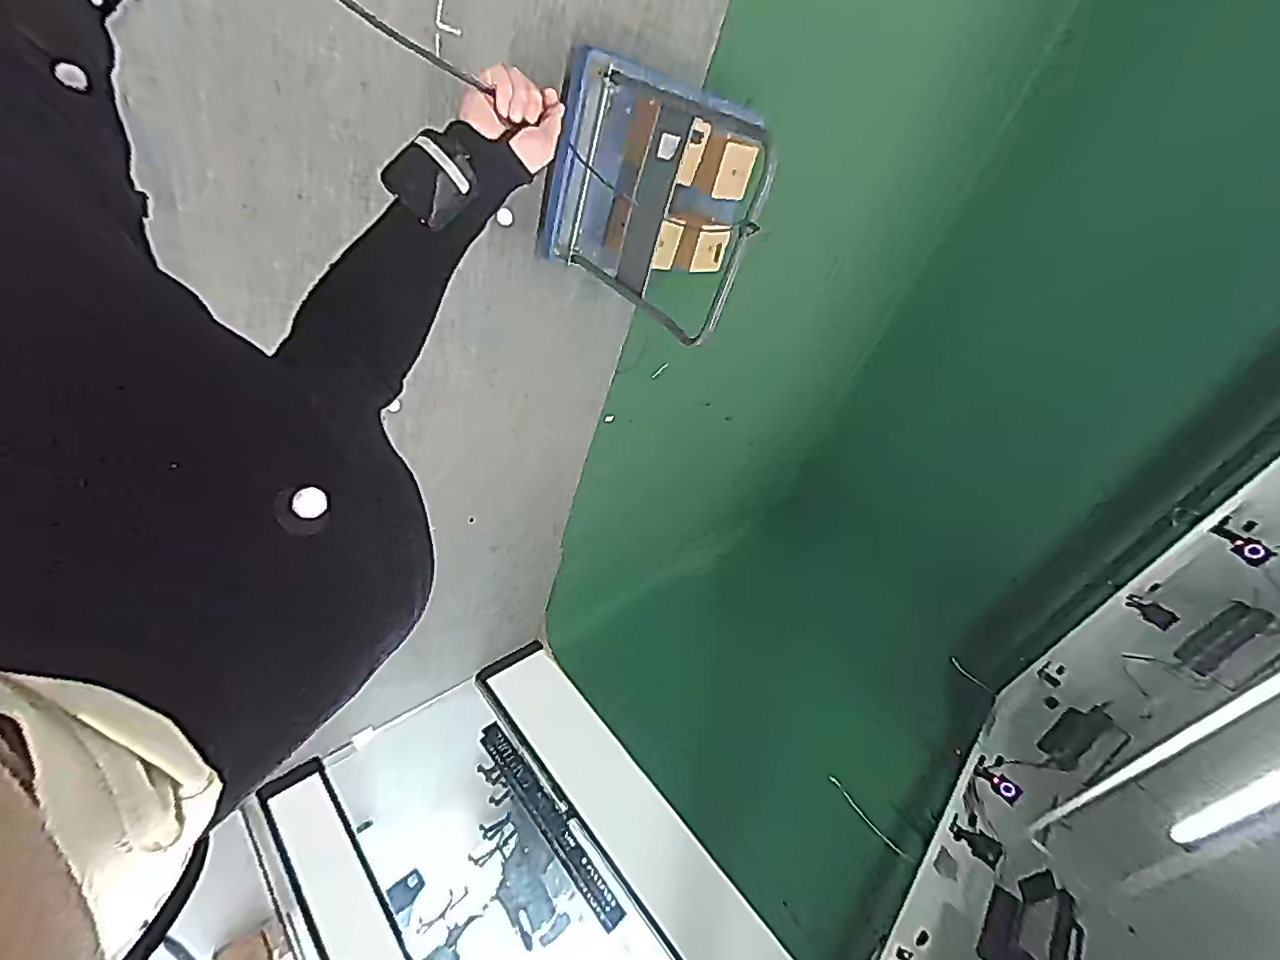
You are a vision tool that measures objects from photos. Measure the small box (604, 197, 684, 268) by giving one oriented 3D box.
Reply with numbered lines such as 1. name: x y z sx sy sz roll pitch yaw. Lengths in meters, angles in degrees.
1. small box: 0.011 -0.829 1.815 0.179 0.176 0.168 -16 139 -43

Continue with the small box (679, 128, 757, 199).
1. small box: 0.261 -1.080 1.847 0.179 0.176 0.168 -21 143 -40

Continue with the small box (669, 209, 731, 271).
1. small box: 0.199 -0.889 1.999 0.179 0.176 0.168 -20 140 -40
